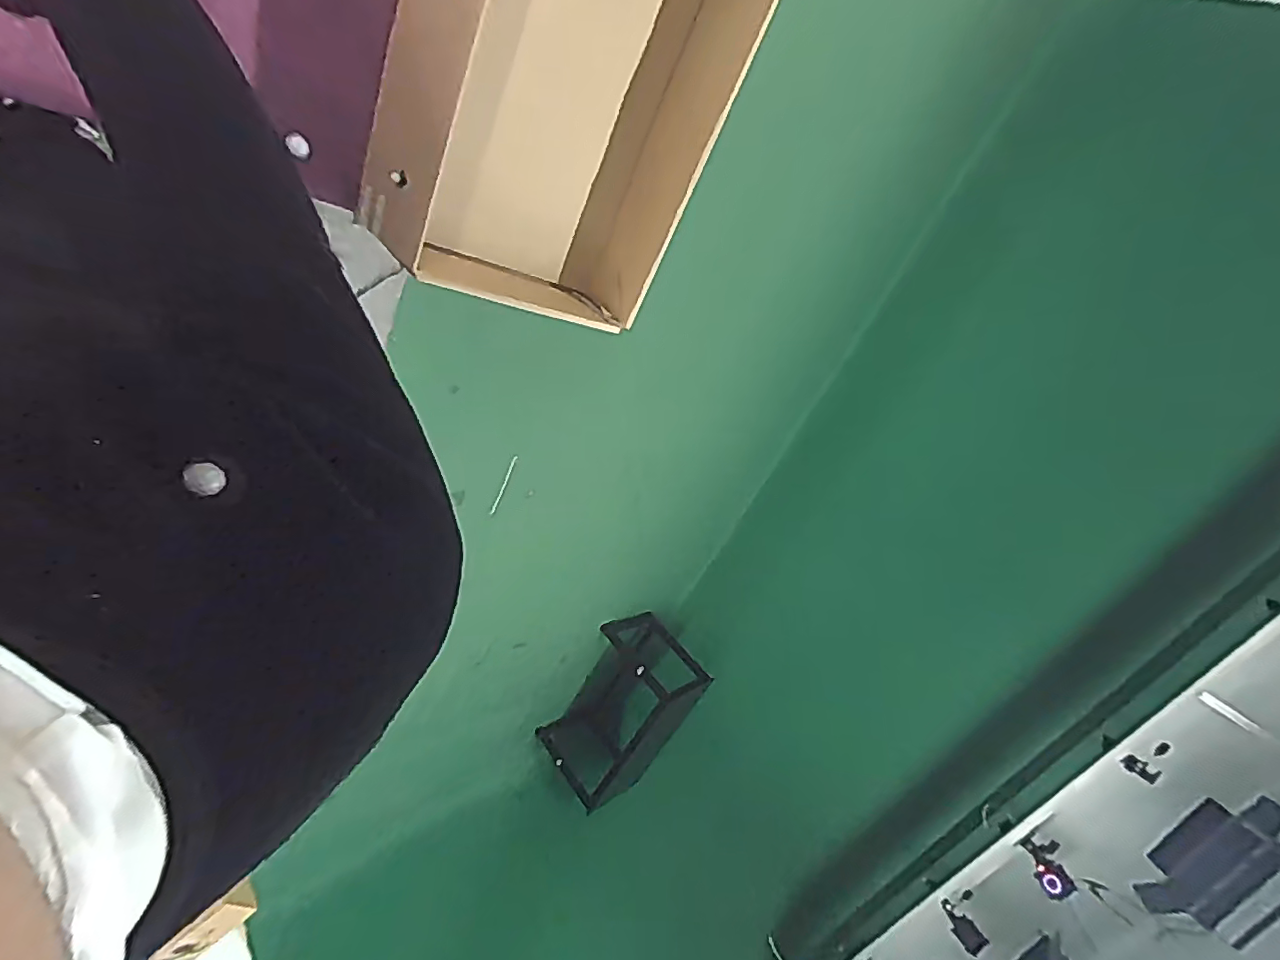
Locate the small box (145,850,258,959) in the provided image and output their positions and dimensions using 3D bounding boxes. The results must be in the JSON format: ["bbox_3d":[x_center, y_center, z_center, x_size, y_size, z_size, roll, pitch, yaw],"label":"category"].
[{"bbox_3d":[-1.193,1.158,1.469,0.179,0.176,0.168,-34,146,-27],"label":"small box"}]
